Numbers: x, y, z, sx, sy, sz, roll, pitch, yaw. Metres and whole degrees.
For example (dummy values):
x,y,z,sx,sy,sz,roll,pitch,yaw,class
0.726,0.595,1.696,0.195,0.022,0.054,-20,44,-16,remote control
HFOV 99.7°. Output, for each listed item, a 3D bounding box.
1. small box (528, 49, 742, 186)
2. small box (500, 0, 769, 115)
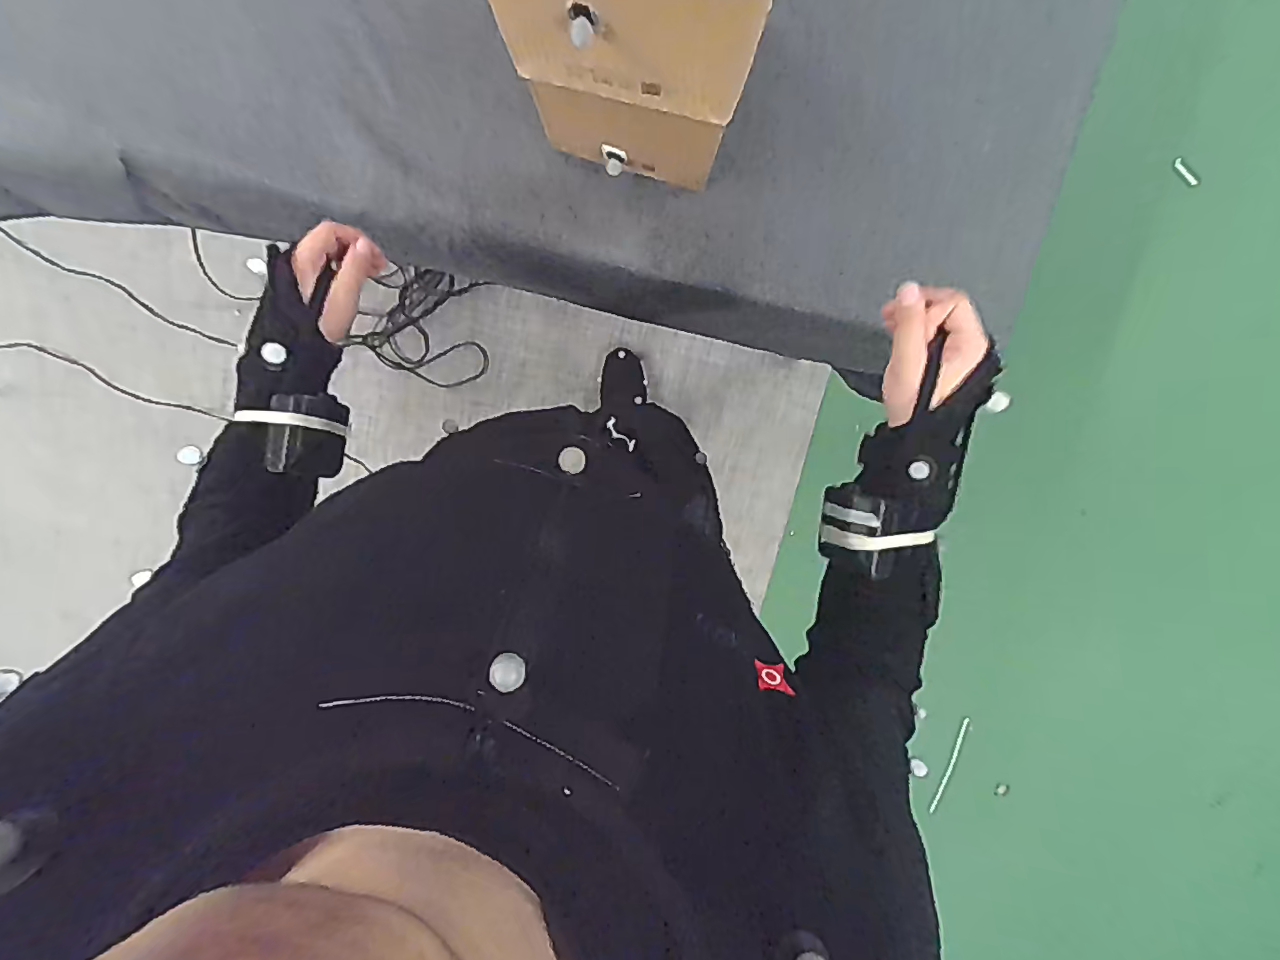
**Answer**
x,y,z,sx,sy,sz,roll,pitch,yaw,class
0.013,-0.391,0.470,0.168,0.176,0.179,13,102,-2,small box
0.008,-0.353,0.312,0.168,0.176,0.179,12,100,-2,small box
